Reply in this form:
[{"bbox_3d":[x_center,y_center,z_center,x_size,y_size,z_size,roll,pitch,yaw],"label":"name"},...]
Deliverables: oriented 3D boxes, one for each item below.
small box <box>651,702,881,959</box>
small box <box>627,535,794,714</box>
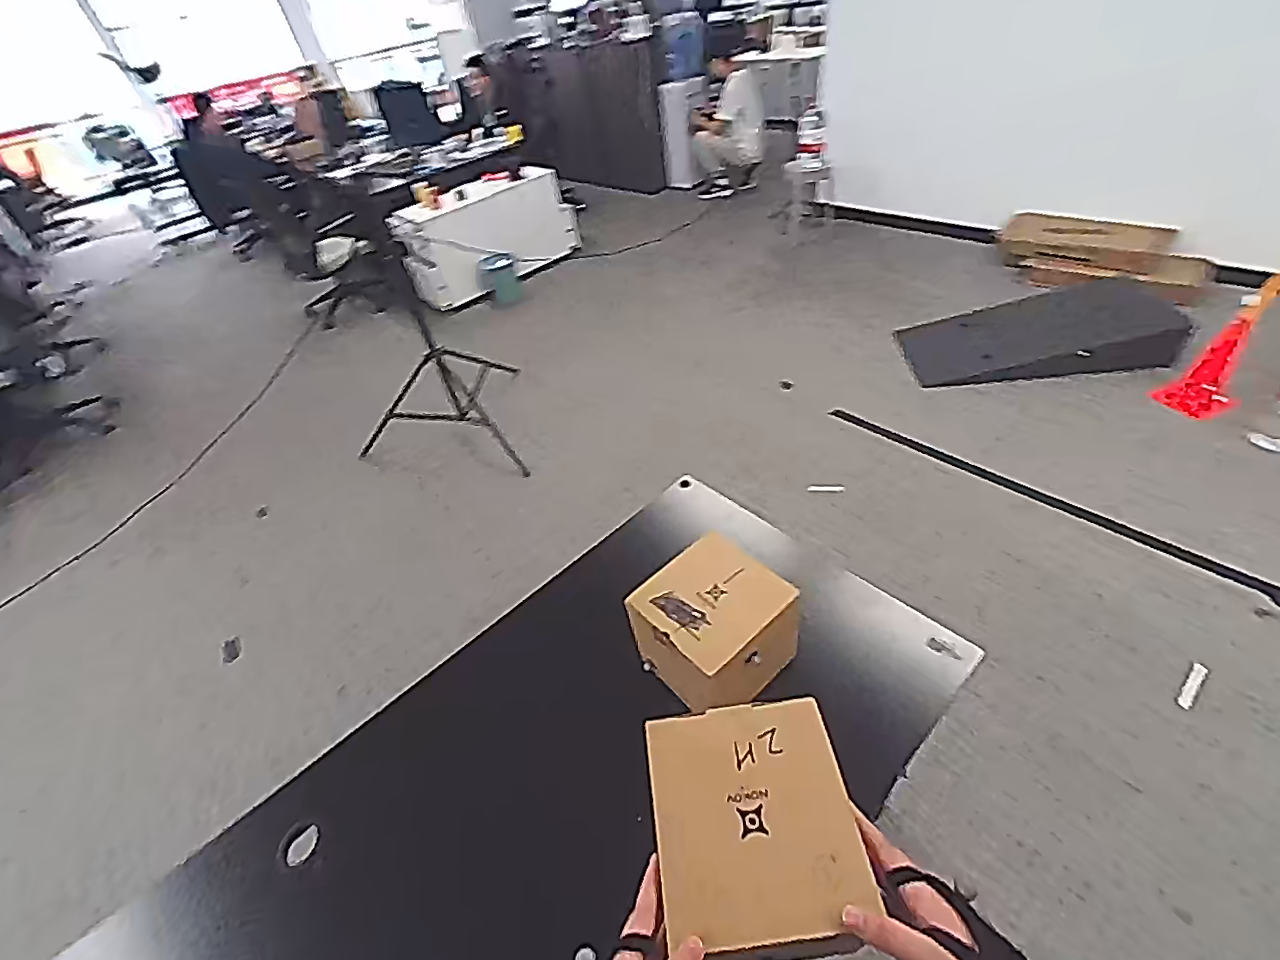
[{"bbox_3d":[0.106,0.341,0.518,0.168,0.176,0.179,-7,43,1],"label":"small box"},{"bbox_3d":[0.108,0.223,0.795,0.179,0.176,0.168,-35,47,-24],"label":"small box"}]
